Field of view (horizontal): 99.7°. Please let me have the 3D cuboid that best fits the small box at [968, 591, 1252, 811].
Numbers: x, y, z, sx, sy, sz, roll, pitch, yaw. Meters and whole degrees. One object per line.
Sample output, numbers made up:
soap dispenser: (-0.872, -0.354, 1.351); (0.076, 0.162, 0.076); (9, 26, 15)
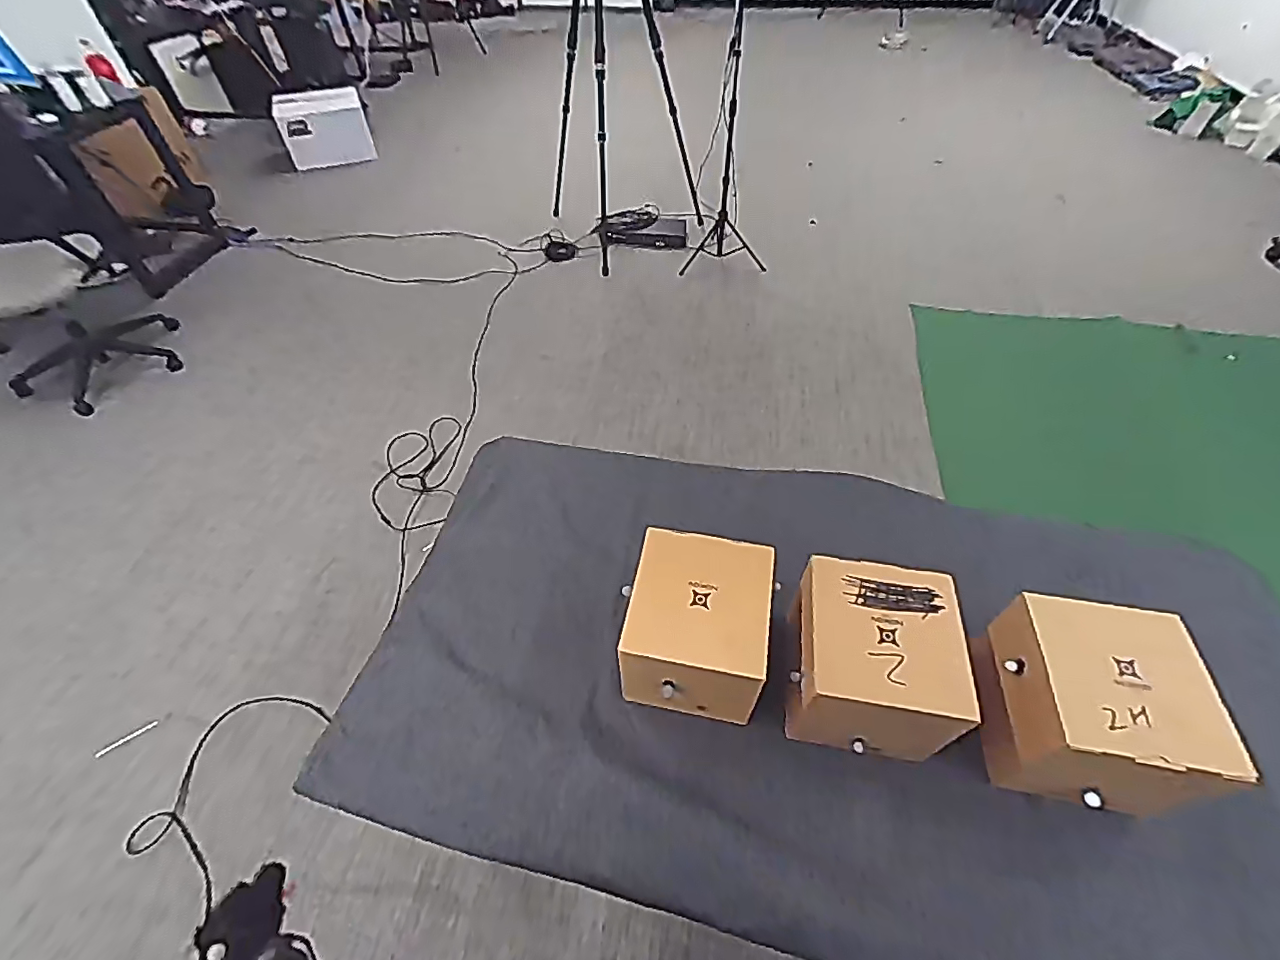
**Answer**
small box: (0.513, 0.257, 0.631); (0.168, 0.176, 0.179); (7, 50, 9)
